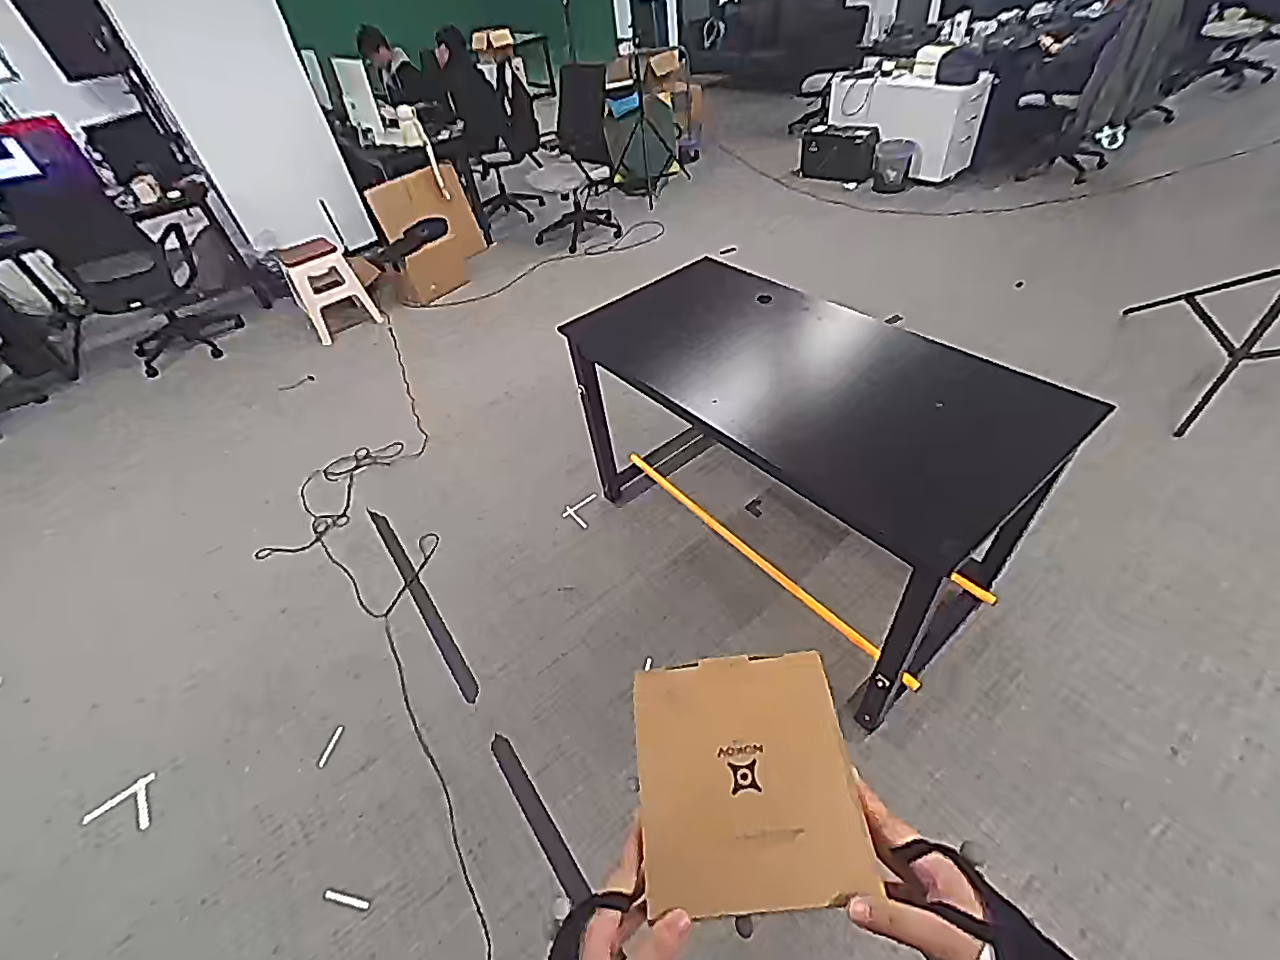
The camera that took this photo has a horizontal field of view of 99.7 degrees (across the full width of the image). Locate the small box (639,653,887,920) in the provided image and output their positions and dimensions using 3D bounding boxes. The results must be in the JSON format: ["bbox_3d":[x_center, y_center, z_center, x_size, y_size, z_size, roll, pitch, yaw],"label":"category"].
[{"bbox_3d":[0.091,0.275,0.484,0.168,0.176,0.179,-7,53,3],"label":"small box"}]
